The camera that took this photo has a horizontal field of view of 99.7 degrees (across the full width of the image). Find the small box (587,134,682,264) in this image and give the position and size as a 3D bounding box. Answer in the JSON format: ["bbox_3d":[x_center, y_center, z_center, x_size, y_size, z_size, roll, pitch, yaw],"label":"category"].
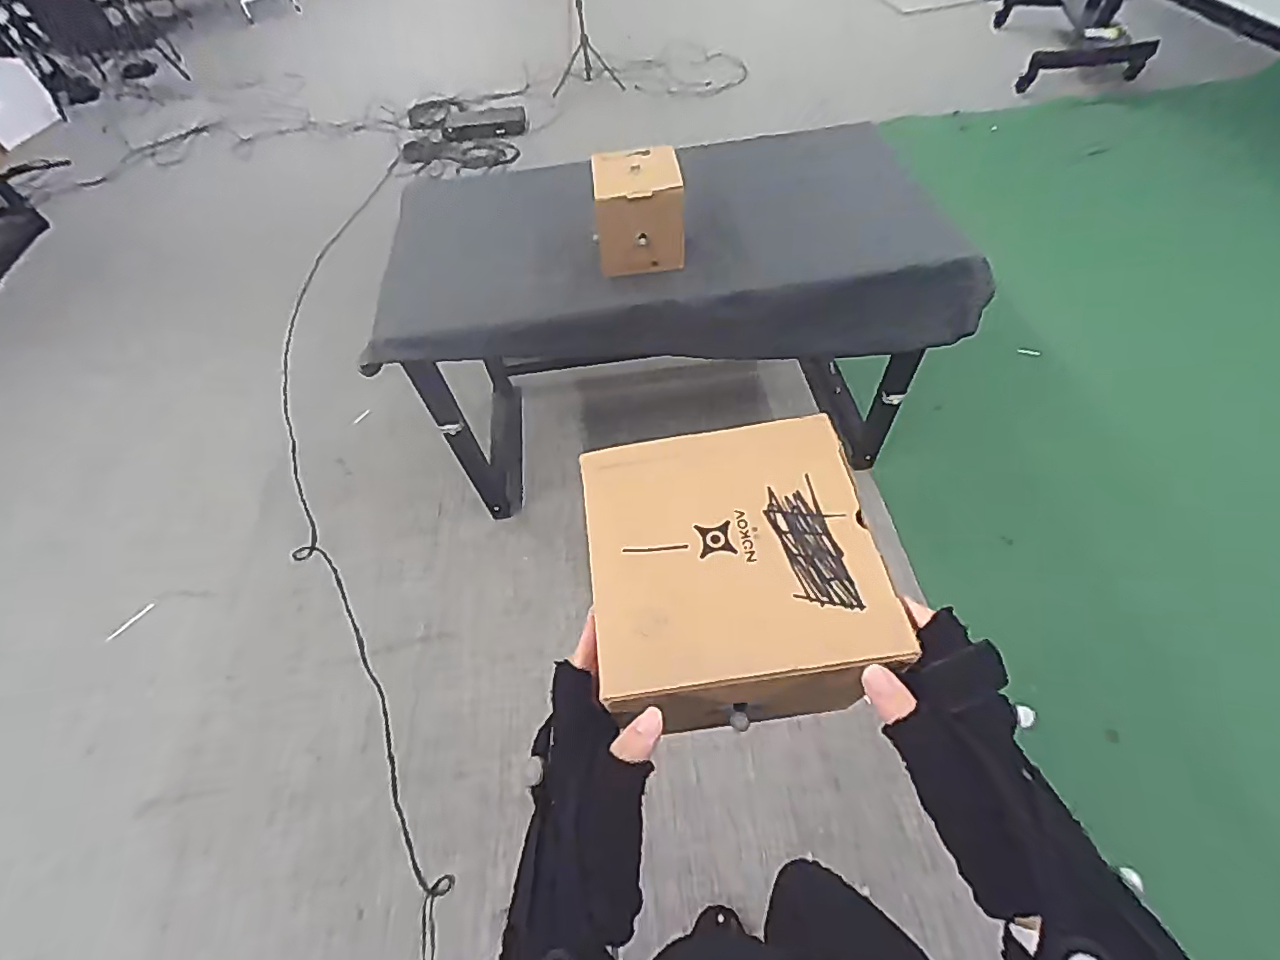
[{"bbox_3d":[-0.009,-0.553,1.084,0.168,0.176,0.179,-7,56,1],"label":"small box"}]

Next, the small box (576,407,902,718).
[{"bbox_3d":[0.057,0.071,0.404,0.179,0.176,0.168,-9,59,1],"label":"small box"}]
